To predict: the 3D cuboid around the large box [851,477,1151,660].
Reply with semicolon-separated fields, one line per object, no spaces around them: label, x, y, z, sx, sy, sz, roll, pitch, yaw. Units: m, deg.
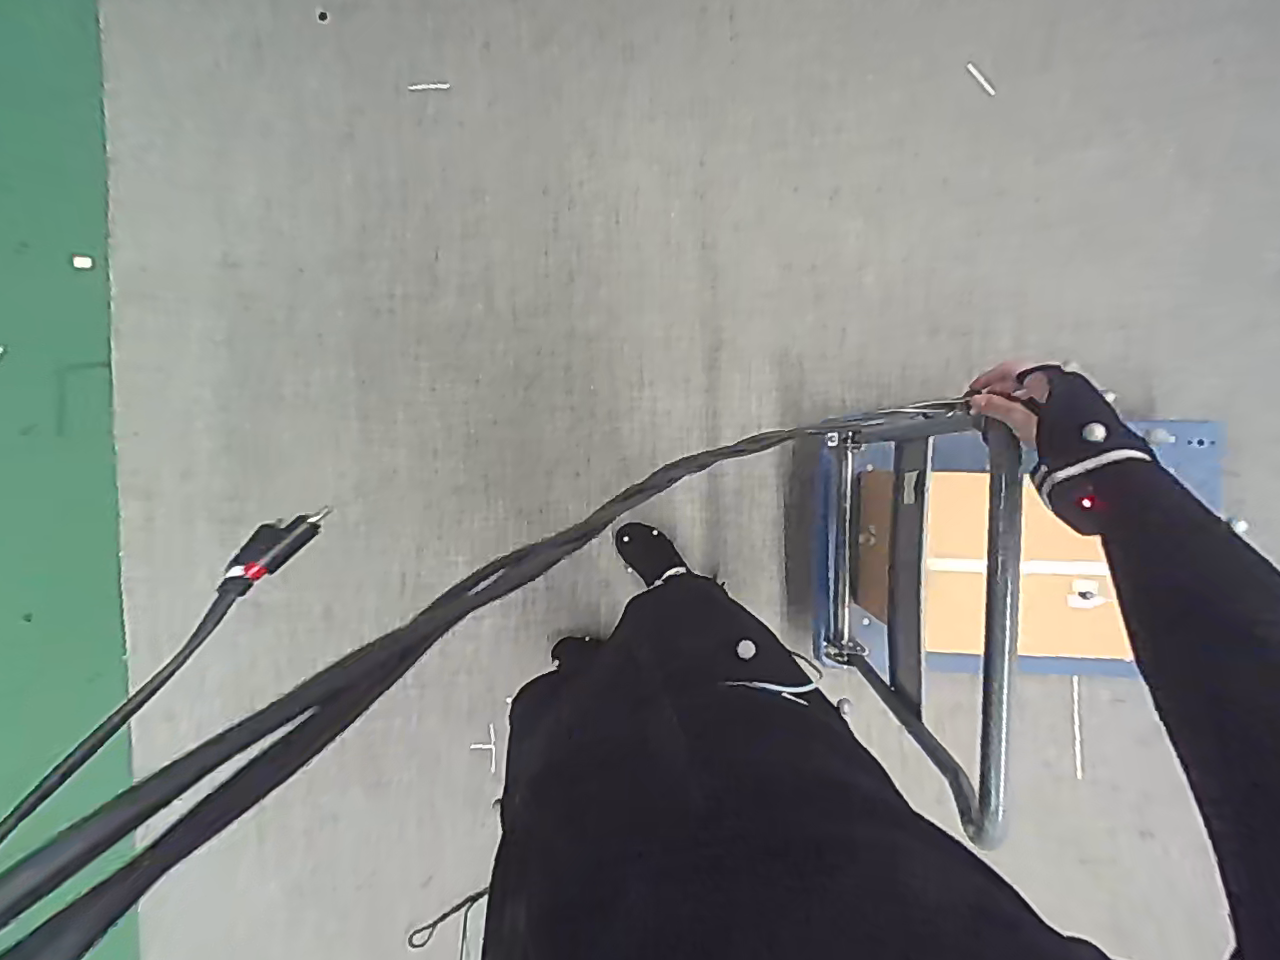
large box;0.675;0.154;1.080;0.408;0.320;0.320;2;91;1
